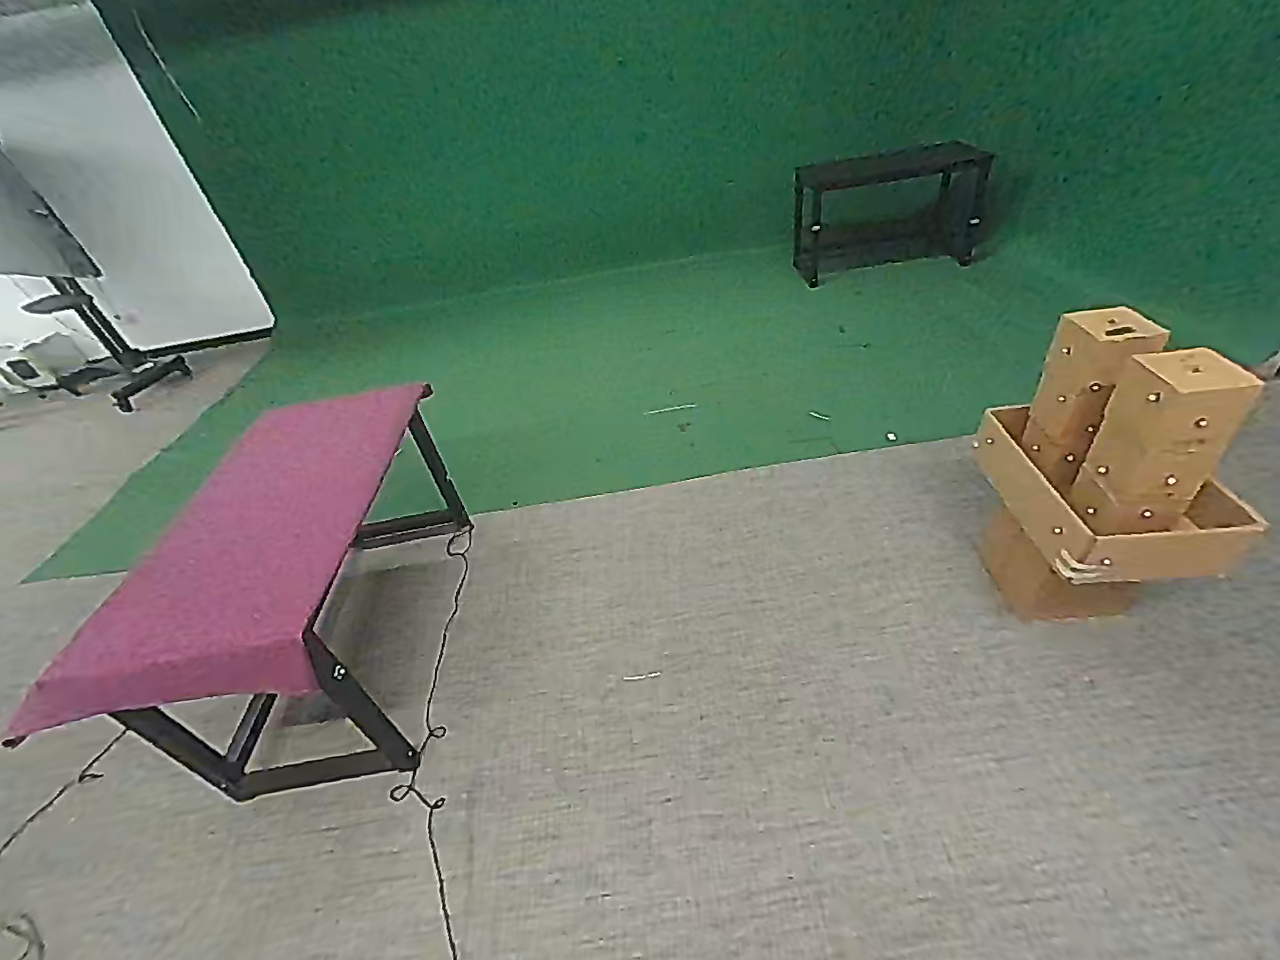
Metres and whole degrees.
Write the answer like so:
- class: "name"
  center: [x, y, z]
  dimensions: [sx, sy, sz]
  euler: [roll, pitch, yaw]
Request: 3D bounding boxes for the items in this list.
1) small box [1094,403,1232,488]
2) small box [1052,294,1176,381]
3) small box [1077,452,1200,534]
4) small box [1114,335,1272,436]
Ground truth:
- class: "small box"
  center: [1.306, -0.090, 1.367]
  dimensions: [0.168, 0.176, 0.179]
  euler: [-3, 42, 11]
- class: "small box"
  center: [1.268, -0.380, 1.463]
  dimensions: [0.168, 0.176, 0.179]
  euler: [-6, 40, 7]
- class: "small box"
  center: [1.334, 0.033, 1.469]
  dimensions: [0.179, 0.176, 0.168]
  euler: [-3, 41, 12]
- class: "small box"
  center: [1.272, -0.214, 1.262]
  dimensions: [0.168, 0.176, 0.179]
  euler: [-5, 40, 9]
